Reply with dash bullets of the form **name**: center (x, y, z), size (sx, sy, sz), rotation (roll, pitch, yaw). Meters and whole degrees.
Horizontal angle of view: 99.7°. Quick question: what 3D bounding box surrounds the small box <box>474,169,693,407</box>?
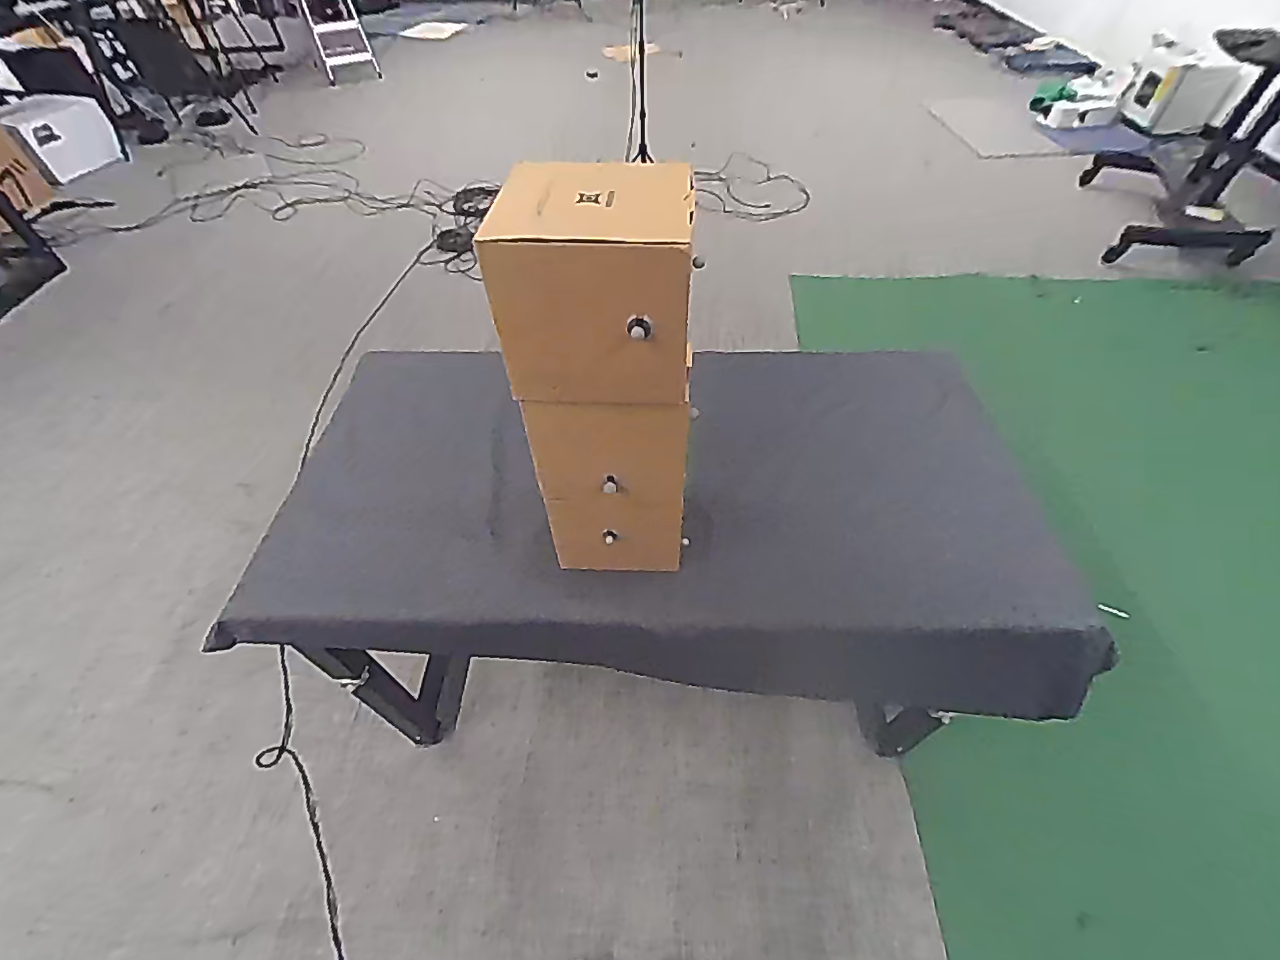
- **small box**: center (-0.038, -0.186, 0.537), size (0.179, 0.176, 0.168), rotation (1, 48, 5)

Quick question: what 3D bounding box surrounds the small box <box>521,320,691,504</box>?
- **small box**: center (-0.031, -0.084, 0.664), size (0.179, 0.176, 0.168), rotation (2, 49, 3)

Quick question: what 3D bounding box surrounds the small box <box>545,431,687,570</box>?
- **small box**: center (-0.026, 0.017, 0.789), size (0.179, 0.176, 0.168), rotation (3, 48, 4)
